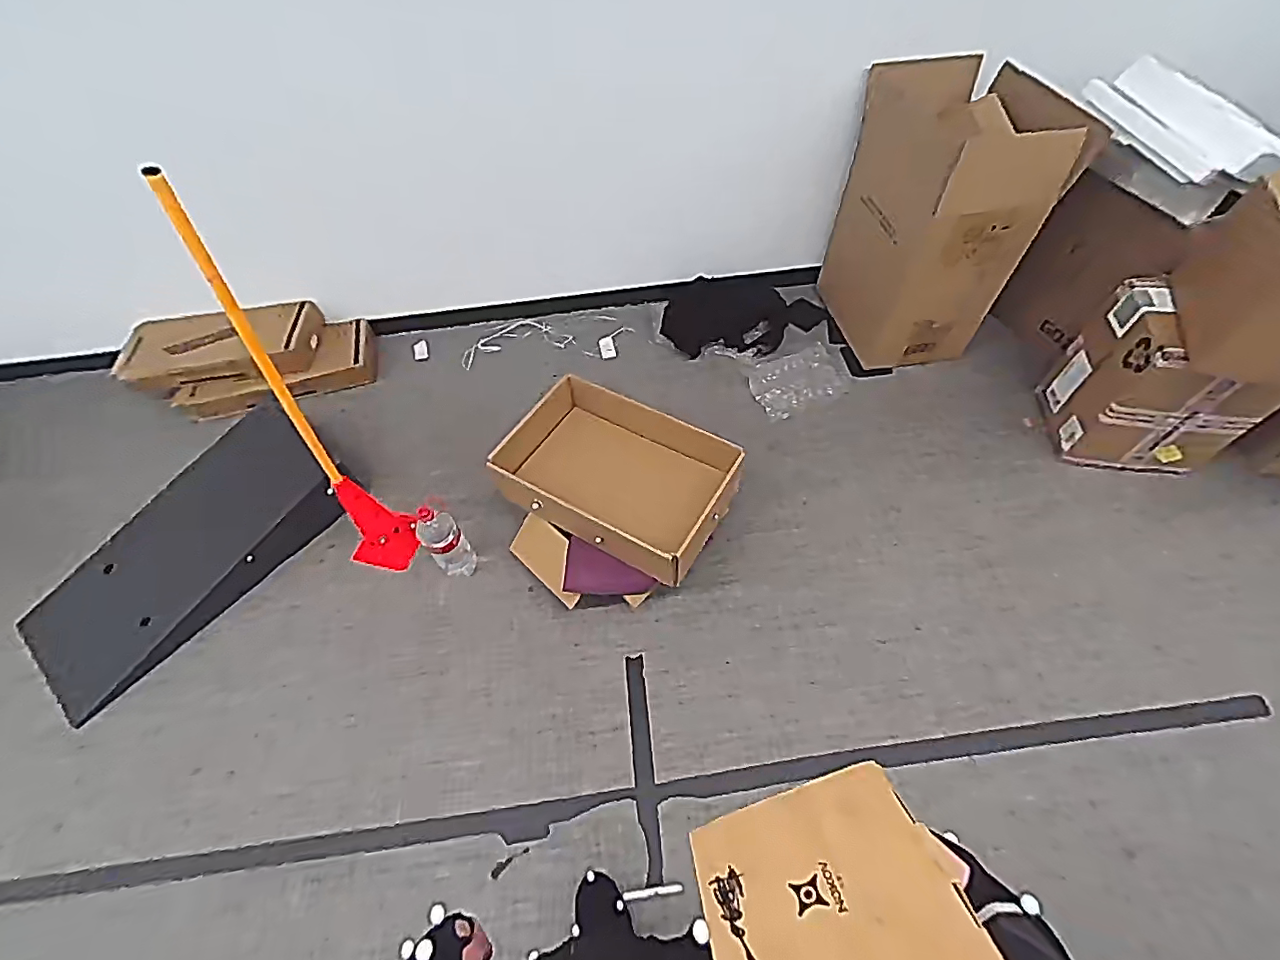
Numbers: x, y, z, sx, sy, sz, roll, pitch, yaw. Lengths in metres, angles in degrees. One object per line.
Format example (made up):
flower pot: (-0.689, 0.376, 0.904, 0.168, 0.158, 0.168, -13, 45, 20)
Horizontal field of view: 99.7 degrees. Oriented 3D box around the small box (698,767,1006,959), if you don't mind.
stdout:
small box: (0.164, 0.375, 0.424, 0.179, 0.176, 0.168, -21, 17, 1)
